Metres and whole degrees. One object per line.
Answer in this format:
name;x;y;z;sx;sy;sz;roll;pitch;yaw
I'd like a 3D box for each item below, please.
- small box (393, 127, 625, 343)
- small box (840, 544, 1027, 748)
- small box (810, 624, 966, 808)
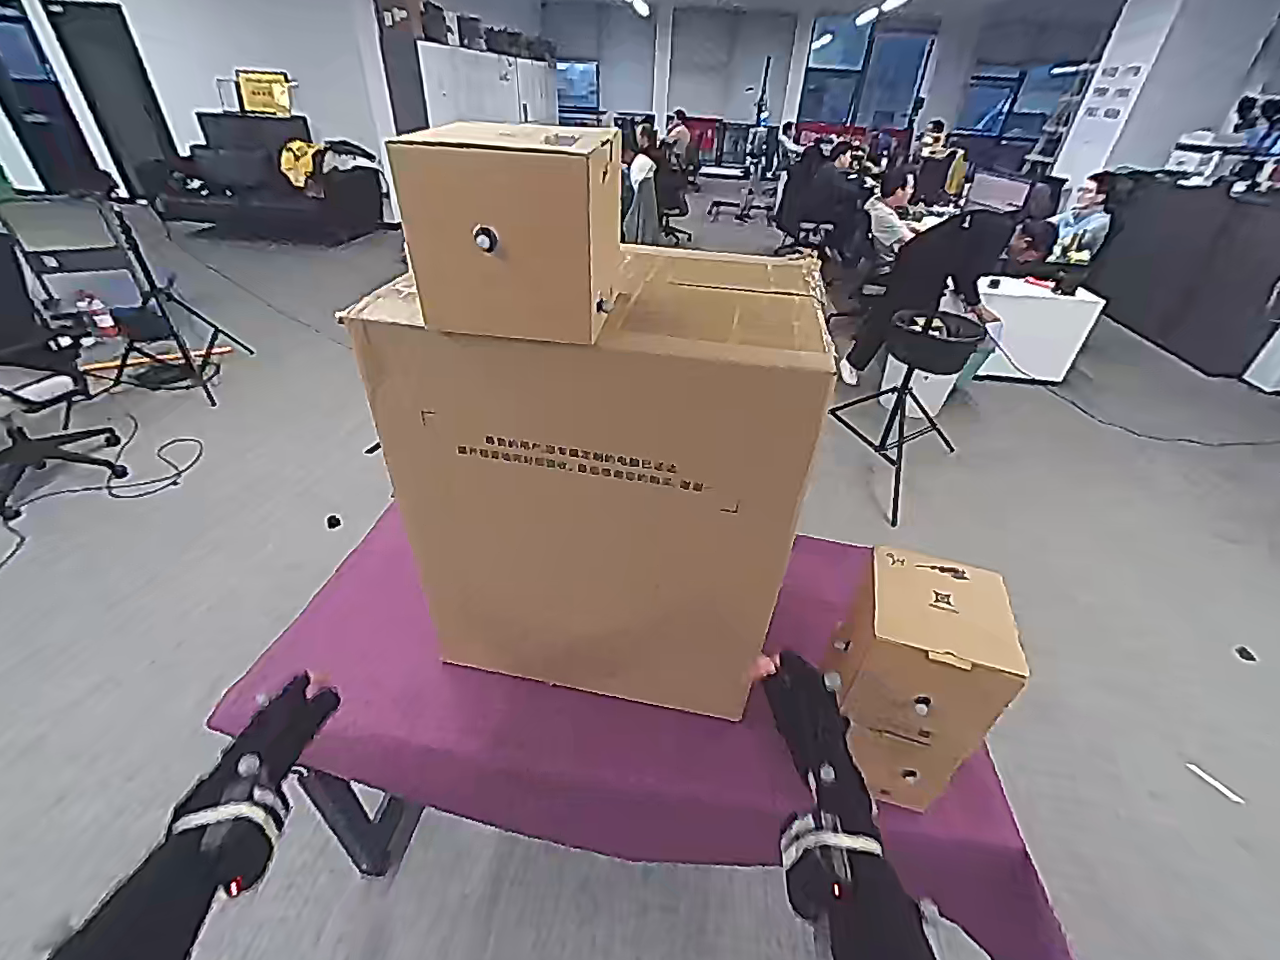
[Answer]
small box;-0.115;-0.253;0.559;0.179;0.176;0.168;6;37;5
small box;0.375;0.220;0.725;0.168;0.176;0.179;14;37;14
small box;0.360;0.355;0.819;0.168;0.176;0.179;12;35;11
